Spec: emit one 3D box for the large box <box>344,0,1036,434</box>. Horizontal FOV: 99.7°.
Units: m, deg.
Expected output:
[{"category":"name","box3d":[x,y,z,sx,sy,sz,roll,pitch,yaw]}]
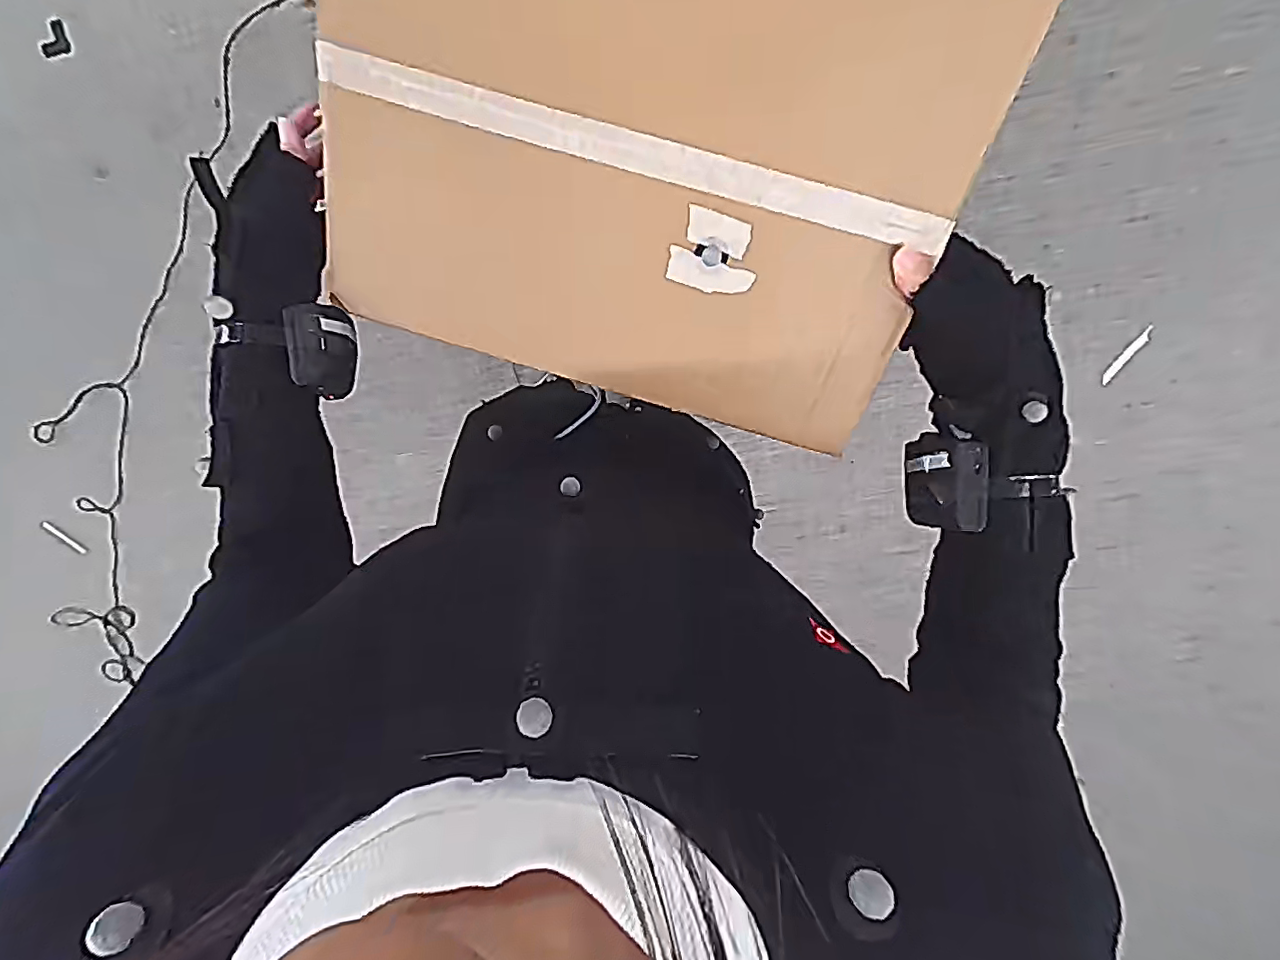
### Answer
[{"category":"large box","box3d":[0.016,-0.281,0.483,0.408,0.320,0.320,16,119,0]}]
